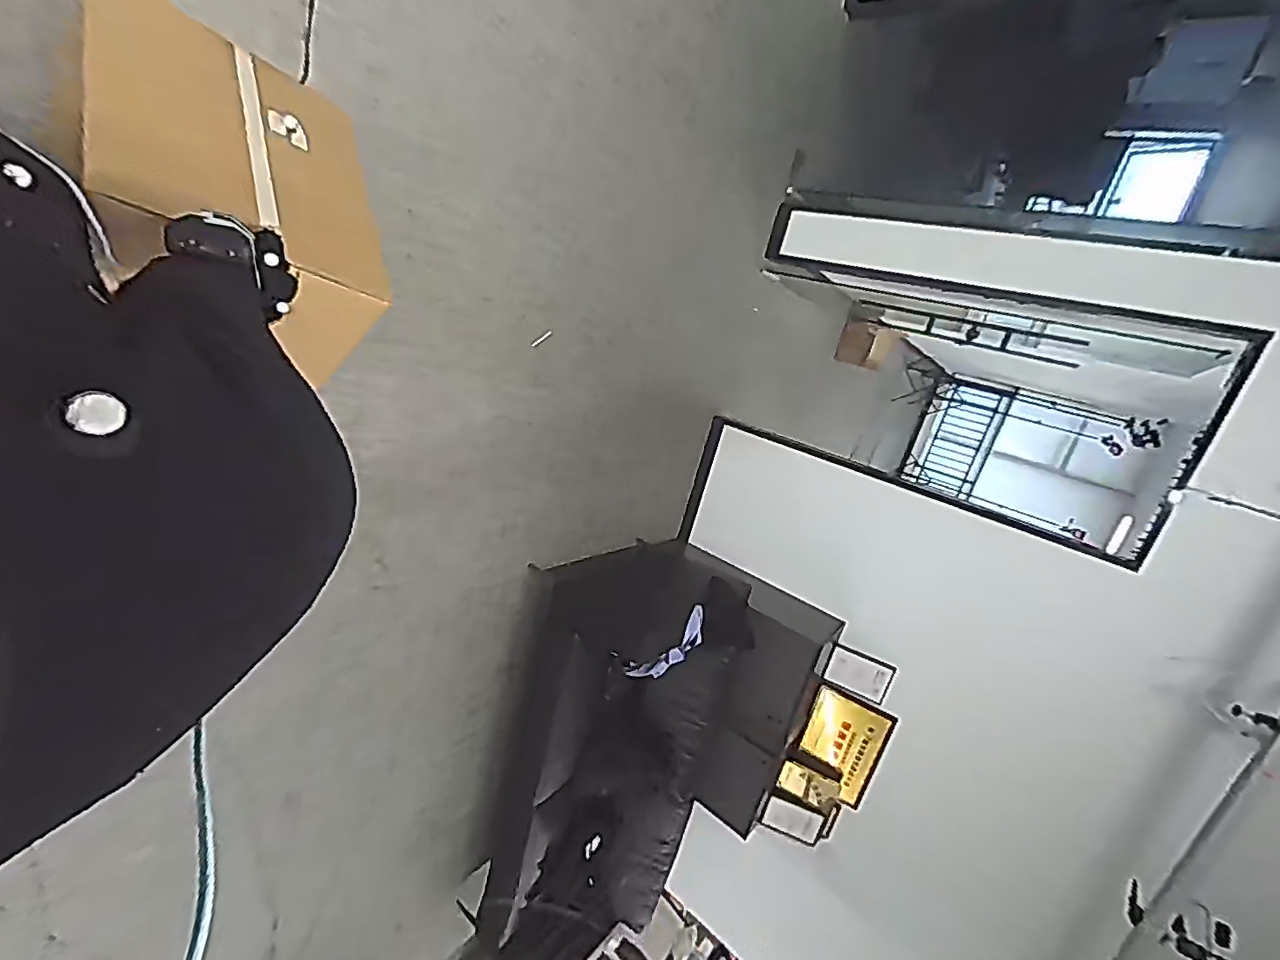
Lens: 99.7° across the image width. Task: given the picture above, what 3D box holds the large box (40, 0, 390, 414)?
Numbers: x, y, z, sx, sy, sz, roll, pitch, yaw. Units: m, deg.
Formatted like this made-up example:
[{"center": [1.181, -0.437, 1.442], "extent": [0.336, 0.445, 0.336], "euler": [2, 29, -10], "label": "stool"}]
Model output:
[{"center": [-0.627, -0.359, 0.792], "extent": [0.320, 0.408, 0.320], "euler": [-33, 158, 27], "label": "large box"}]
